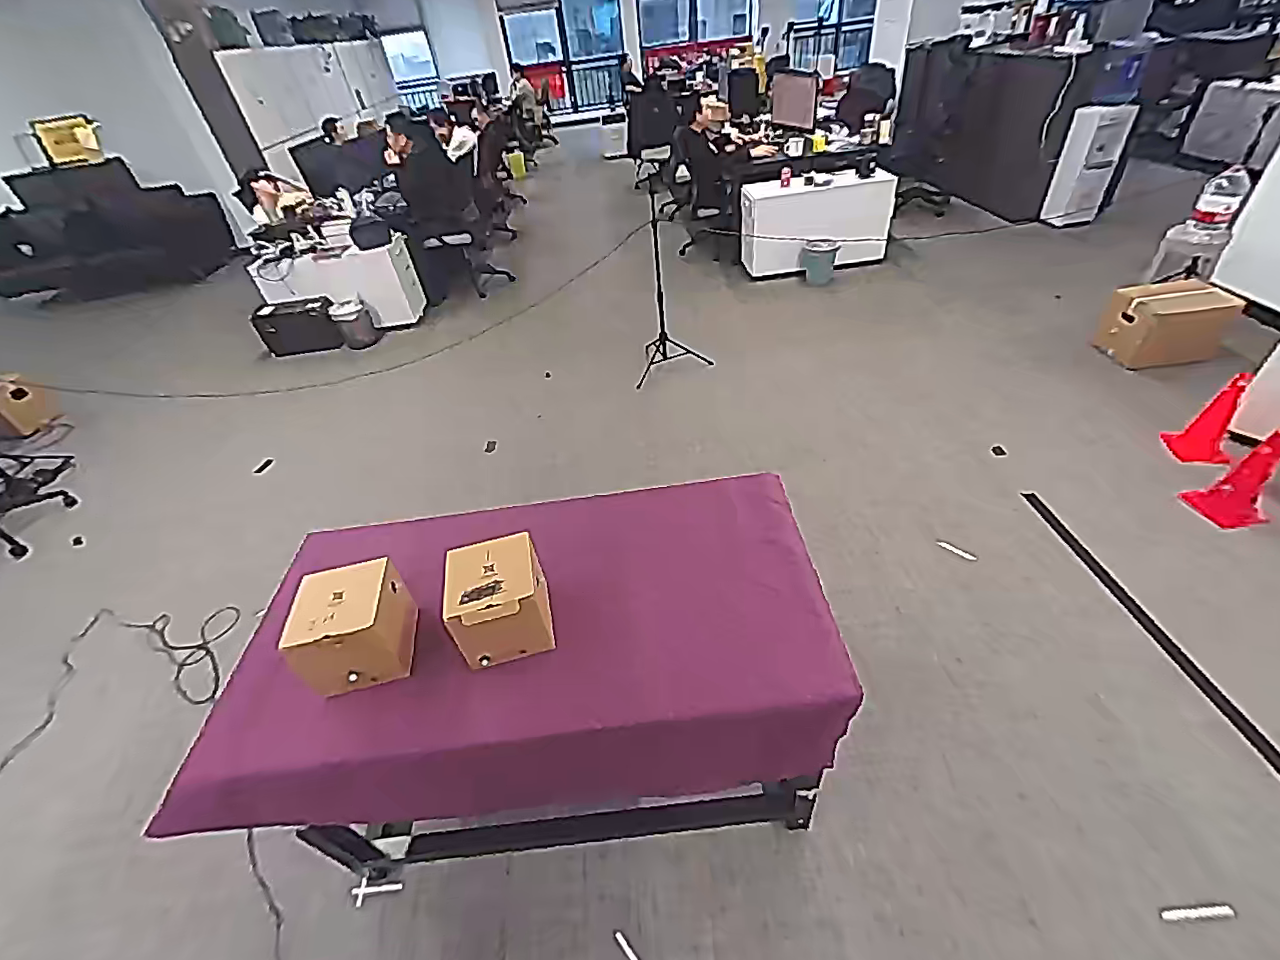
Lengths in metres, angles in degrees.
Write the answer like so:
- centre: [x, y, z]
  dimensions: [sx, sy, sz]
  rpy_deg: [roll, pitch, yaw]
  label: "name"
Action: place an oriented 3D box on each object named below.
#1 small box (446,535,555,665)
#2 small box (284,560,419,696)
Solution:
- centre: [-0.272, 0.242, 1.071]
  dimensions: [0.168, 0.176, 0.179]
  rpy_deg: [-13, 39, -6]
  label: "small box"
- centre: [-0.550, 0.290, 1.062]
  dimensions: [0.168, 0.176, 0.179]
  rpy_deg: [-12, 40, -5]
  label: "small box"
